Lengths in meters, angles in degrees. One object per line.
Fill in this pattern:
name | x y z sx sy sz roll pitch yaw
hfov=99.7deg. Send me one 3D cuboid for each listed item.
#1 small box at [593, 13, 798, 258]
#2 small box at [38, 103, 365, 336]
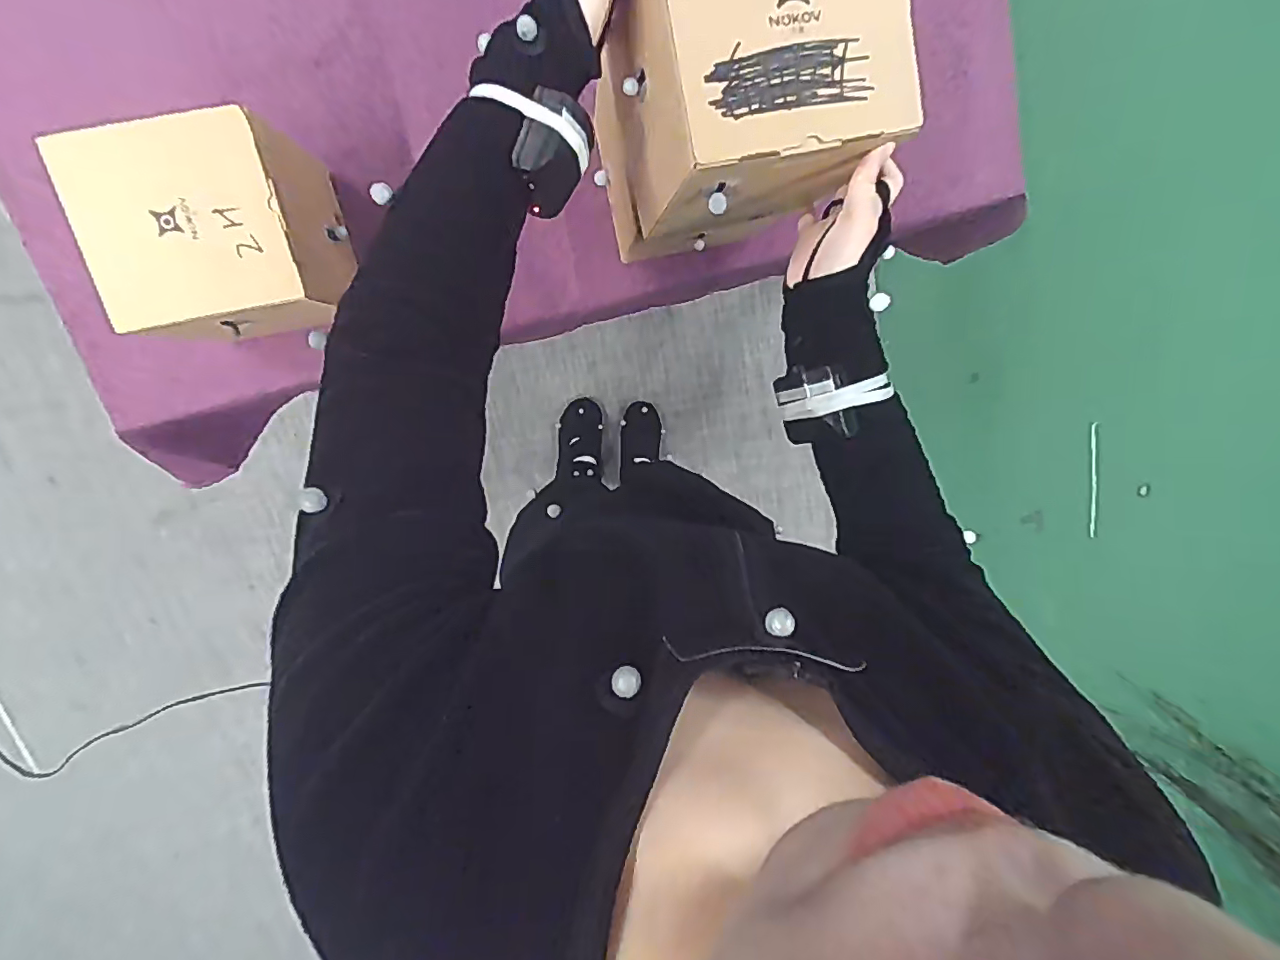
small box | 0.050 -0.357 0.594 0.179 0.176 0.168 -13 103 -3
small box | -0.423 -0.249 0.560 0.179 0.176 0.168 -13 103 -4
